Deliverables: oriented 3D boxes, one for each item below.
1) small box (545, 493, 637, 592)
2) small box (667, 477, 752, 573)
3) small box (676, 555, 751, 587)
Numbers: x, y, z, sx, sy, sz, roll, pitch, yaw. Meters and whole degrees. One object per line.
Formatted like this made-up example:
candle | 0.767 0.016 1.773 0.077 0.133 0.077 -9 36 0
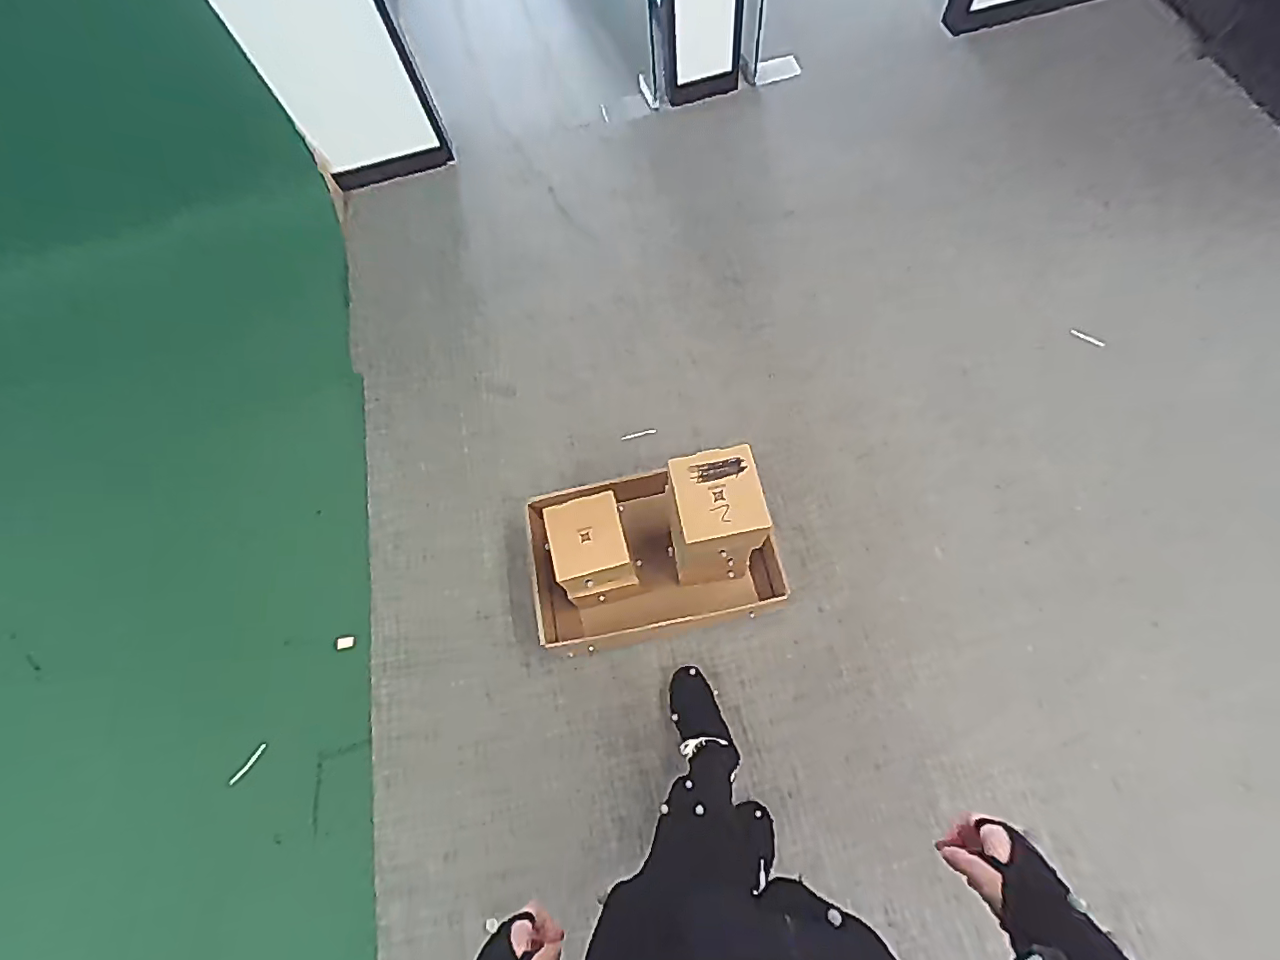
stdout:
small box | -0.111 0.156 1.270 0.168 0.176 0.179 -15 67 -1
small box | 0.159 0.113 1.257 0.168 0.176 0.179 -9 68 2
small box | 0.181 0.175 1.405 0.179 0.176 0.168 -10 67 3
